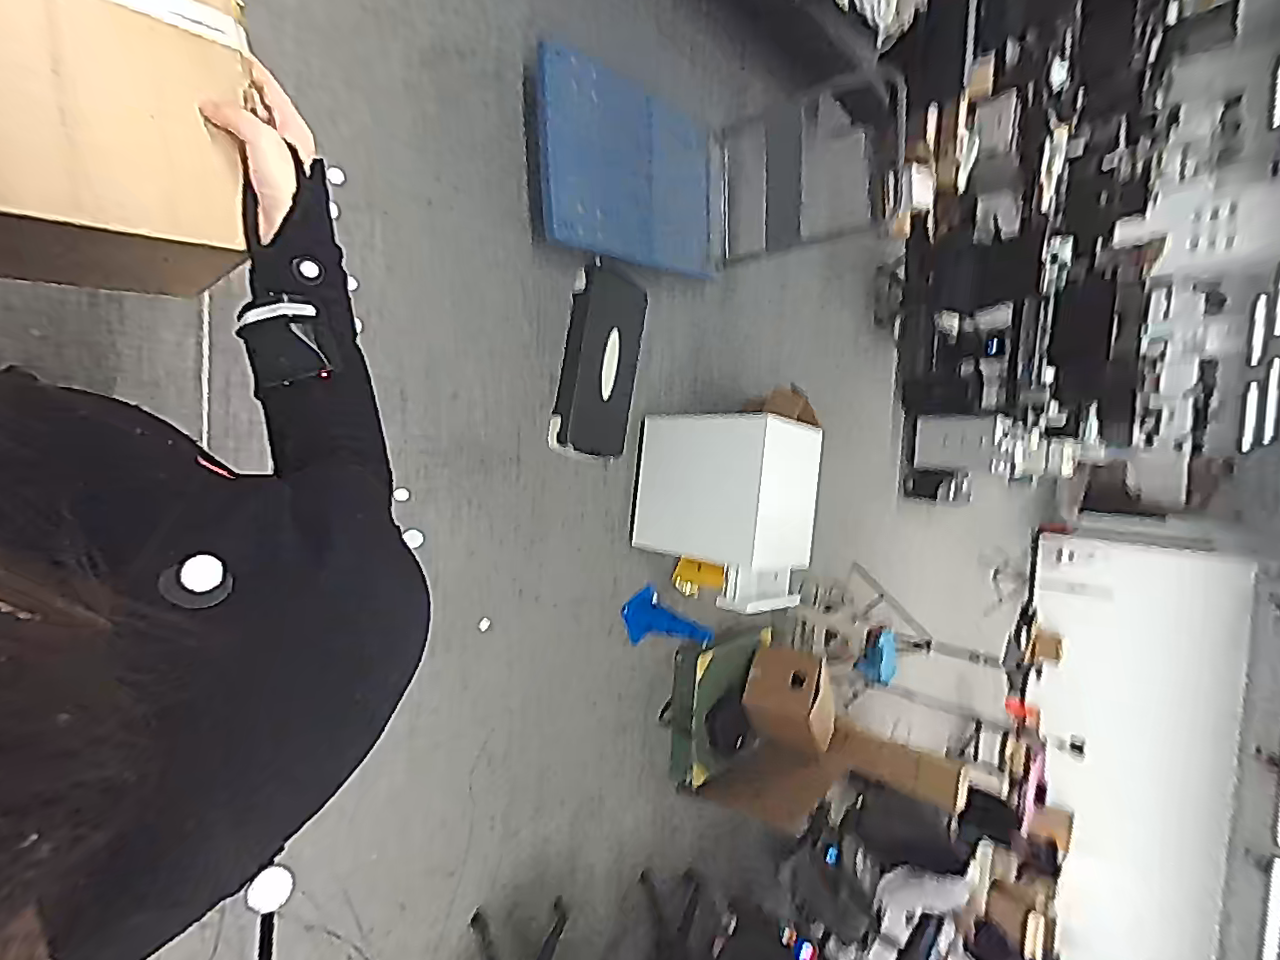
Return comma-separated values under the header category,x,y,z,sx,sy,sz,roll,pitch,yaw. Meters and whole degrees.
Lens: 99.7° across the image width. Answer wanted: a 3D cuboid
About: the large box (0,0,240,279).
category,x,y,z,sx,sy,sz,roll,pitch,yaw
large box,-0.573,-0.335,0.379,0.408,0.320,0.320,-11,104,-45
